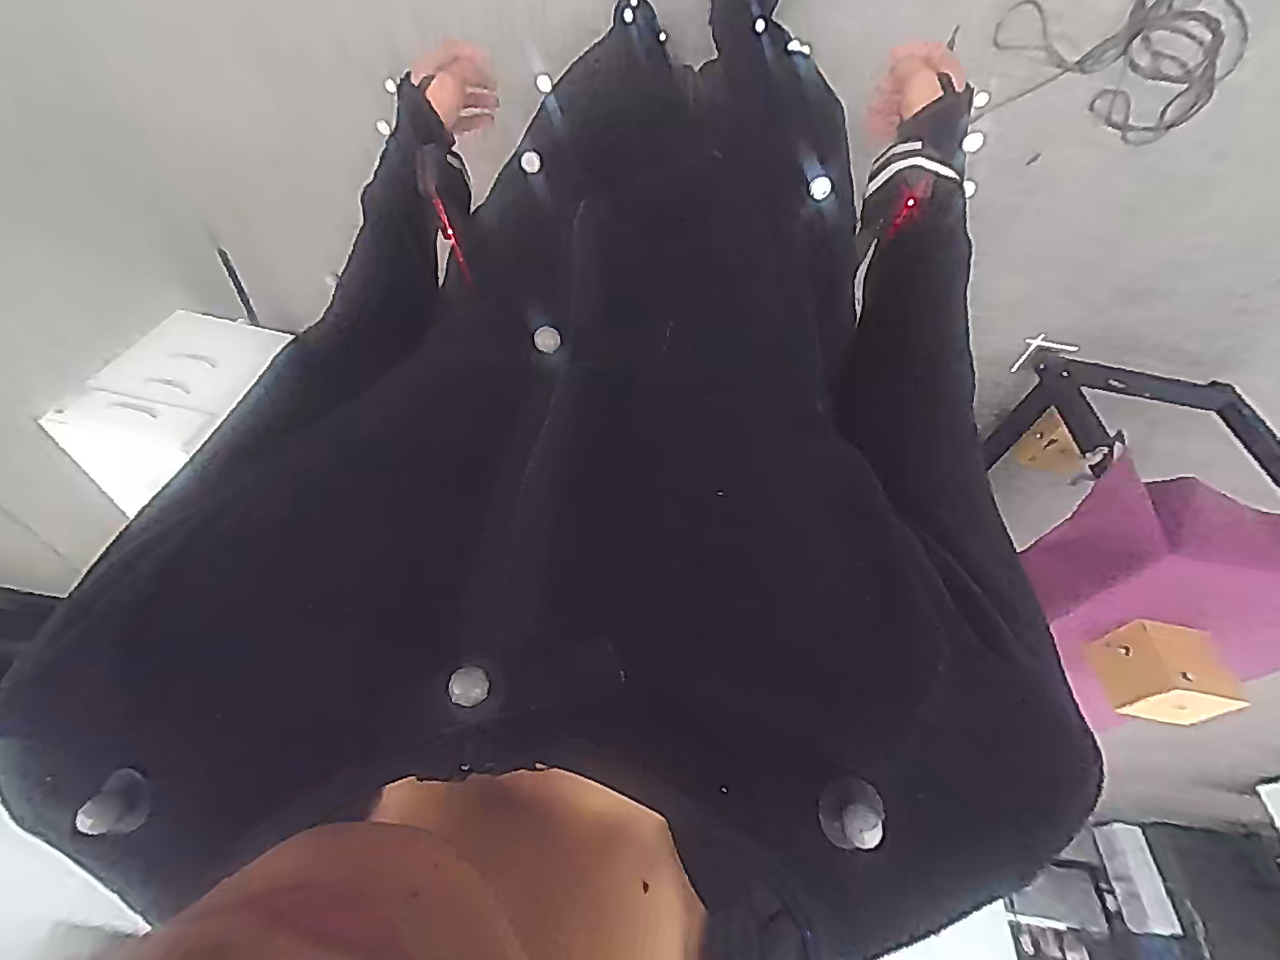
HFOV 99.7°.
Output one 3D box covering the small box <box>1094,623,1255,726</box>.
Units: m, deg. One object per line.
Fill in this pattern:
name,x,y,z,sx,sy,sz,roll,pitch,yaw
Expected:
small box,1.227,0.451,1.259,0.179,0.176,0.168,11,139,-1
